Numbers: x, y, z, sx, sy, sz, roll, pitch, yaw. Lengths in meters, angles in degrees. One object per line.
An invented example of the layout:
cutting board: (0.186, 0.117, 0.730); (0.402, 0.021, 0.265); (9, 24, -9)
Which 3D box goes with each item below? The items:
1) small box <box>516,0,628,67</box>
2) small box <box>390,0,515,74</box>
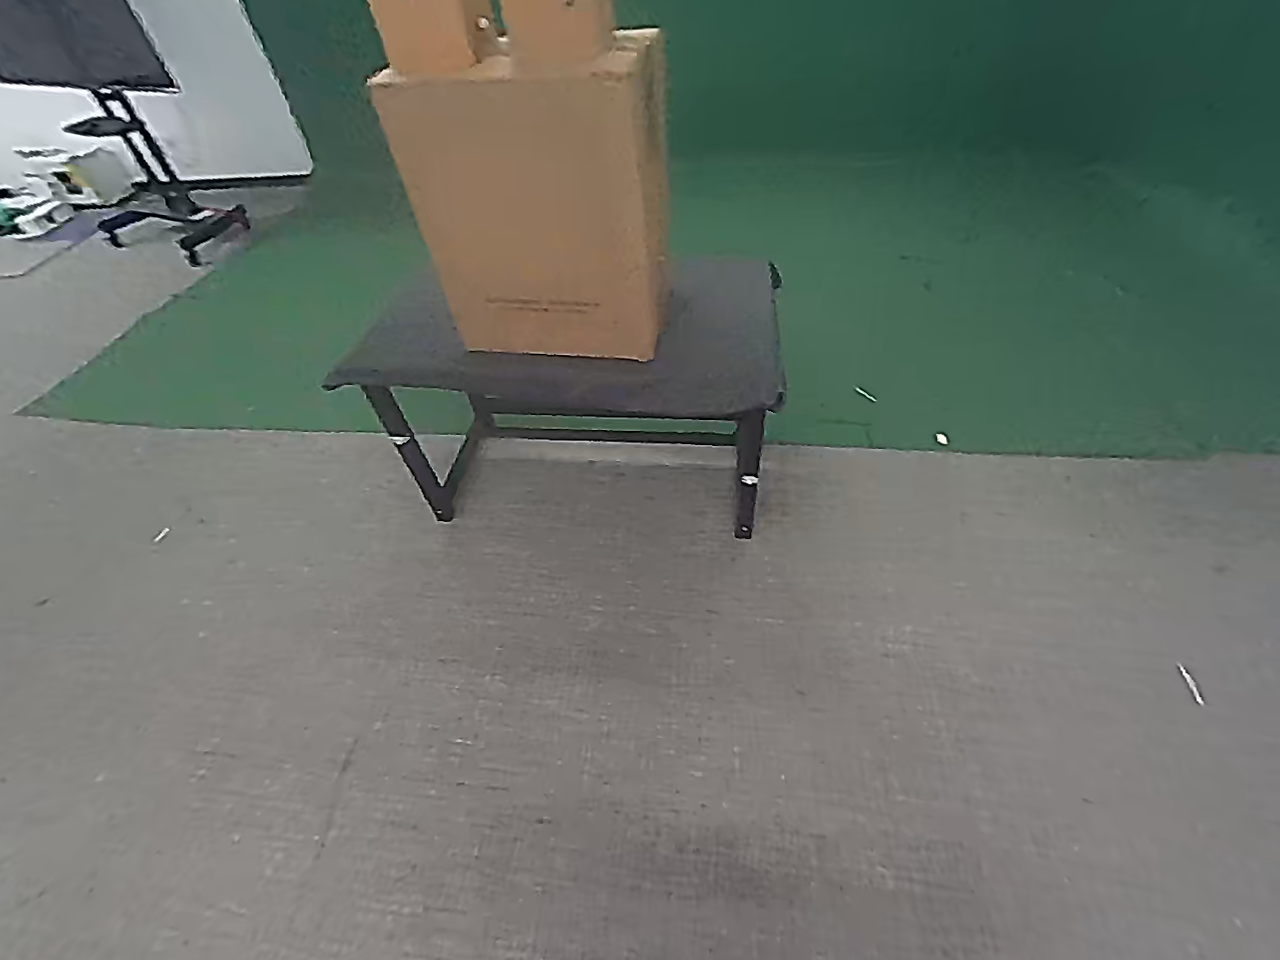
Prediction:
small box: (-0.126, -0.917, 1.036); (0.179, 0.176, 0.168); (5, 50, 11)
small box: (-0.375, -0.933, 1.074); (0.179, 0.176, 0.168); (6, 53, 12)
